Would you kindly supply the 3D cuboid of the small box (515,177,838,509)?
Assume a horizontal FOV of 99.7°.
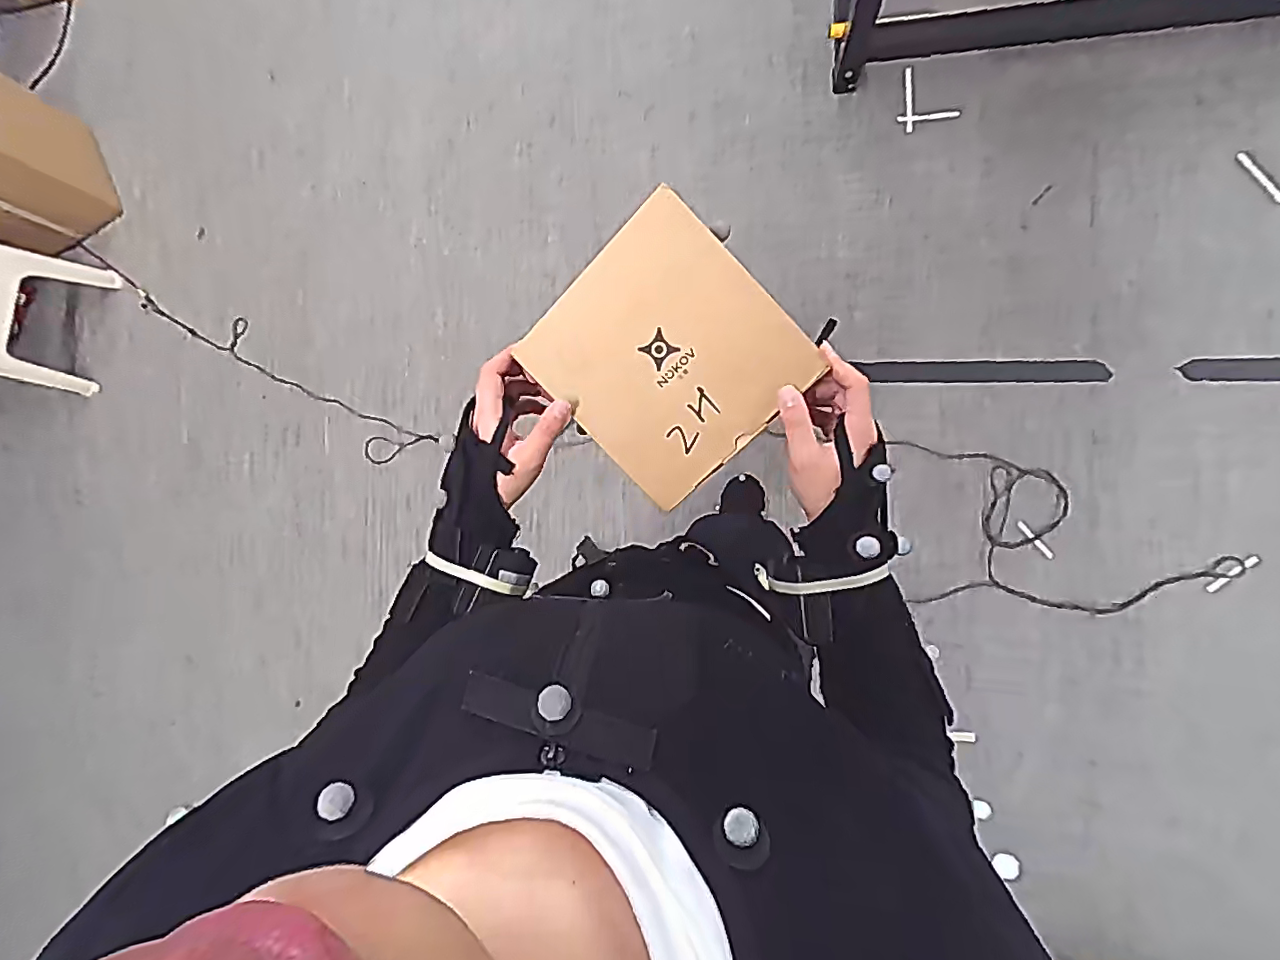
[{"bbox_3d":[0.032,-0.107,0.463,0.168,0.176,0.179,-43,95,15],"label":"small box"}]
